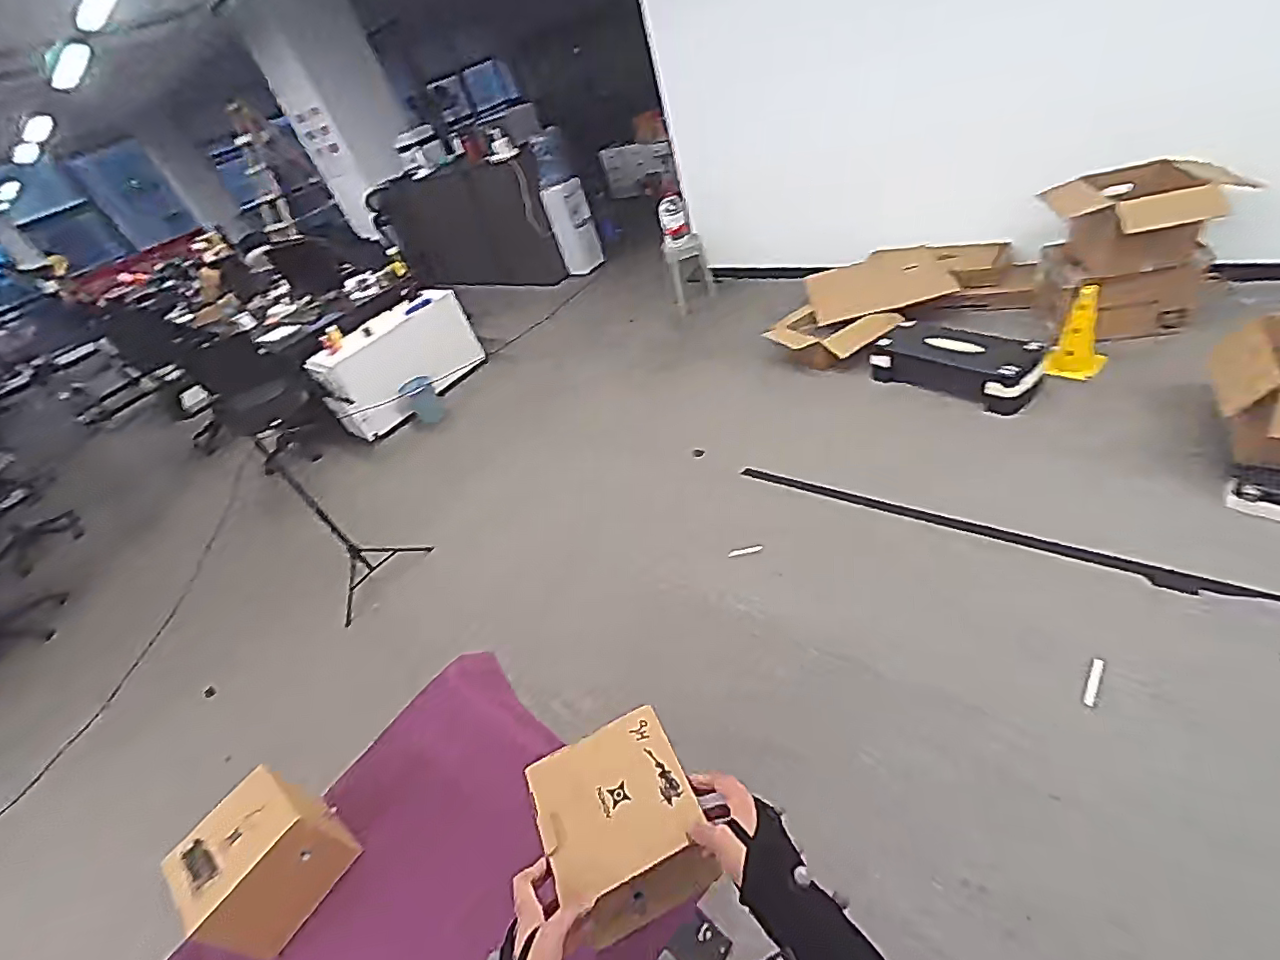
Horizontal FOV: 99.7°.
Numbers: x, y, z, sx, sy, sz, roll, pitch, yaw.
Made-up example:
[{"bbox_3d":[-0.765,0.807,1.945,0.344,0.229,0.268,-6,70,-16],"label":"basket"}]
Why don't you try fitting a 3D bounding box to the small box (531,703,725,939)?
[{"bbox_3d":[-0.012,0.421,0.669,0.179,0.176,0.168,-23,41,-10],"label":"small box"}]
